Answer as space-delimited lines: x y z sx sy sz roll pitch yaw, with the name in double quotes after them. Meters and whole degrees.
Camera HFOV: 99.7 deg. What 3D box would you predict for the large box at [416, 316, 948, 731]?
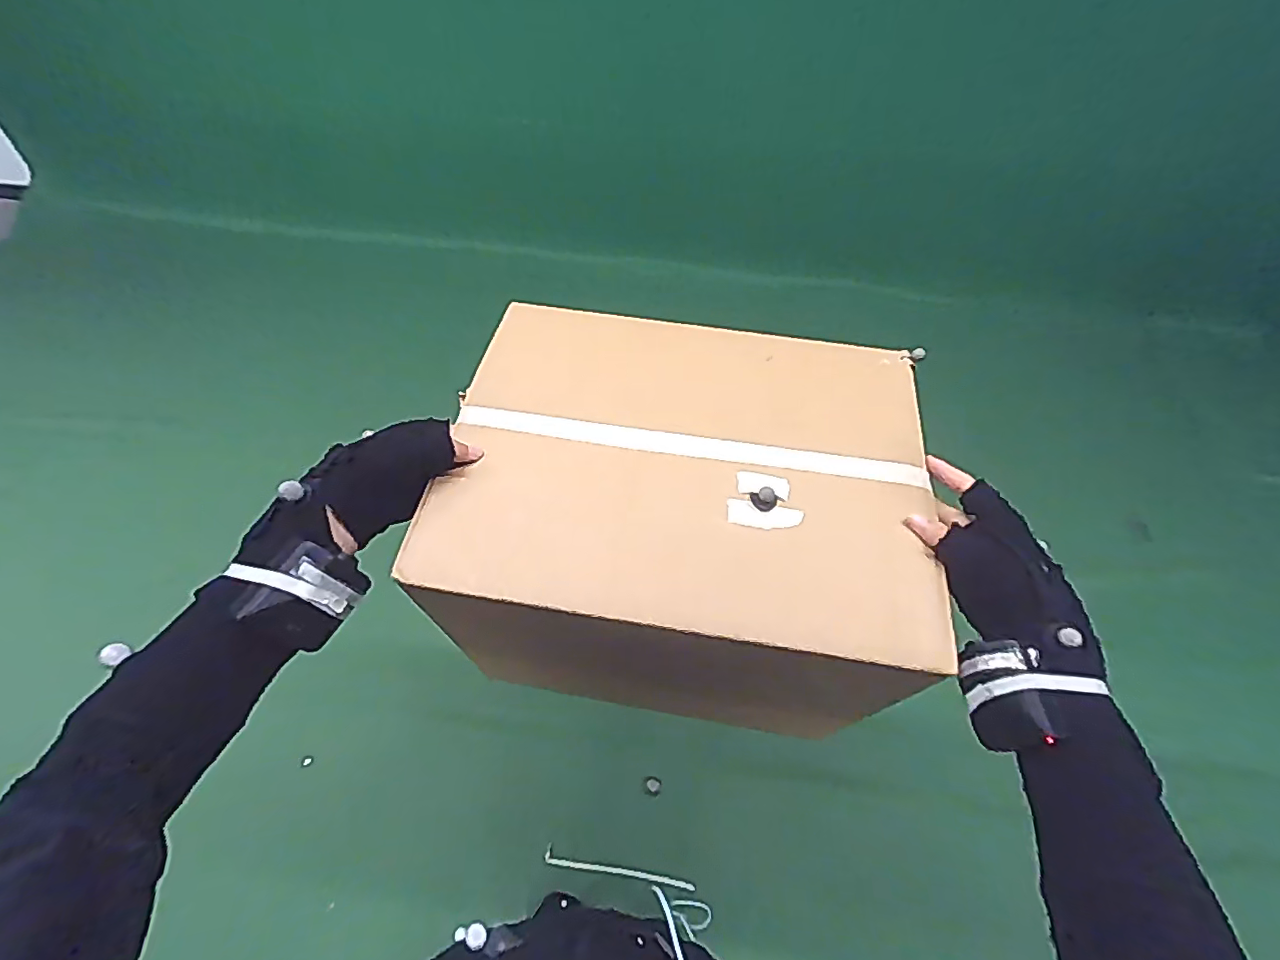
0.041 0.059 0.600 0.408 0.320 0.320 9 57 4 "large box"
